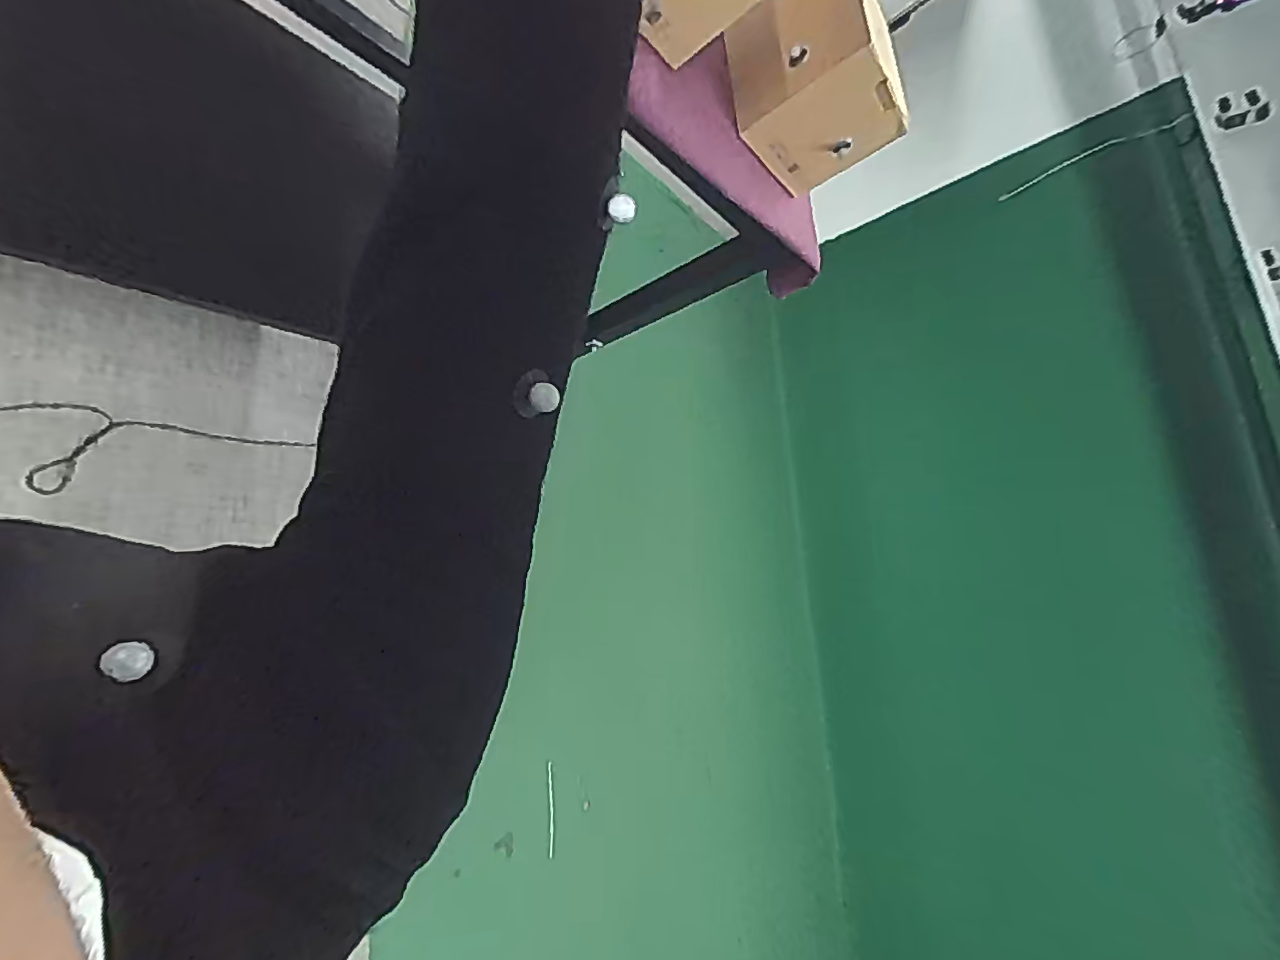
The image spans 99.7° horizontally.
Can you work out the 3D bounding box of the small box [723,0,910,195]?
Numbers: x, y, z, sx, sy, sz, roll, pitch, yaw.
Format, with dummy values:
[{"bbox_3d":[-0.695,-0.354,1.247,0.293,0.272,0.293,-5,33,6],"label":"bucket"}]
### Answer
[{"bbox_3d":[0.227,-0.520,0.708,0.168,0.176,0.179,11,69,-49],"label":"small box"}]
